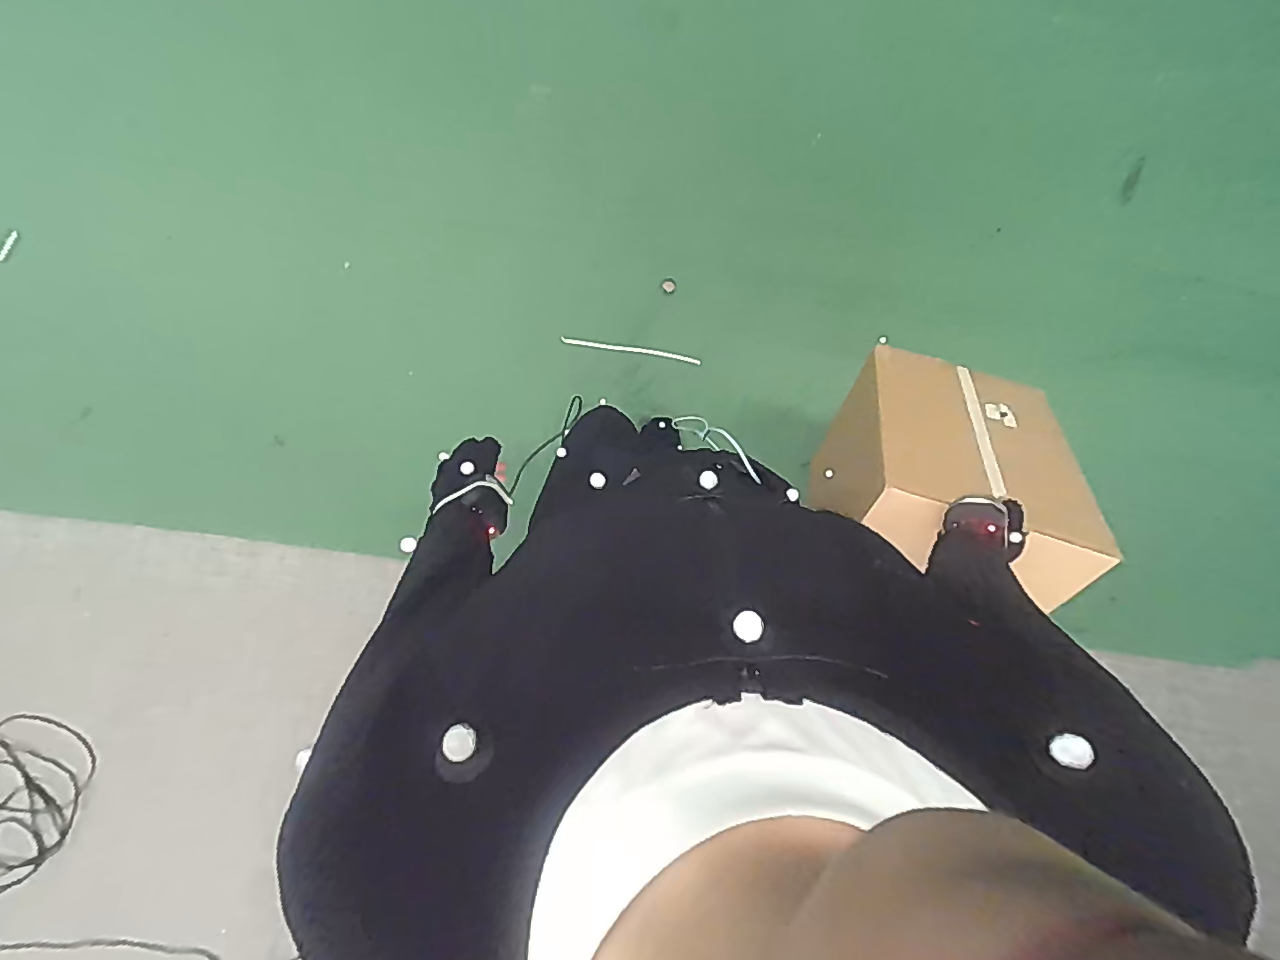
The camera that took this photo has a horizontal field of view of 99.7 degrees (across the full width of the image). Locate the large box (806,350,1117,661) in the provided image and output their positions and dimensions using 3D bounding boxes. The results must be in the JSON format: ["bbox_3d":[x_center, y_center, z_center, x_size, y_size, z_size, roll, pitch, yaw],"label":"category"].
[{"bbox_3d":[0.500,0.035,0.953,0.320,0.408,0.320,18,134,4],"label":"large box"}]
